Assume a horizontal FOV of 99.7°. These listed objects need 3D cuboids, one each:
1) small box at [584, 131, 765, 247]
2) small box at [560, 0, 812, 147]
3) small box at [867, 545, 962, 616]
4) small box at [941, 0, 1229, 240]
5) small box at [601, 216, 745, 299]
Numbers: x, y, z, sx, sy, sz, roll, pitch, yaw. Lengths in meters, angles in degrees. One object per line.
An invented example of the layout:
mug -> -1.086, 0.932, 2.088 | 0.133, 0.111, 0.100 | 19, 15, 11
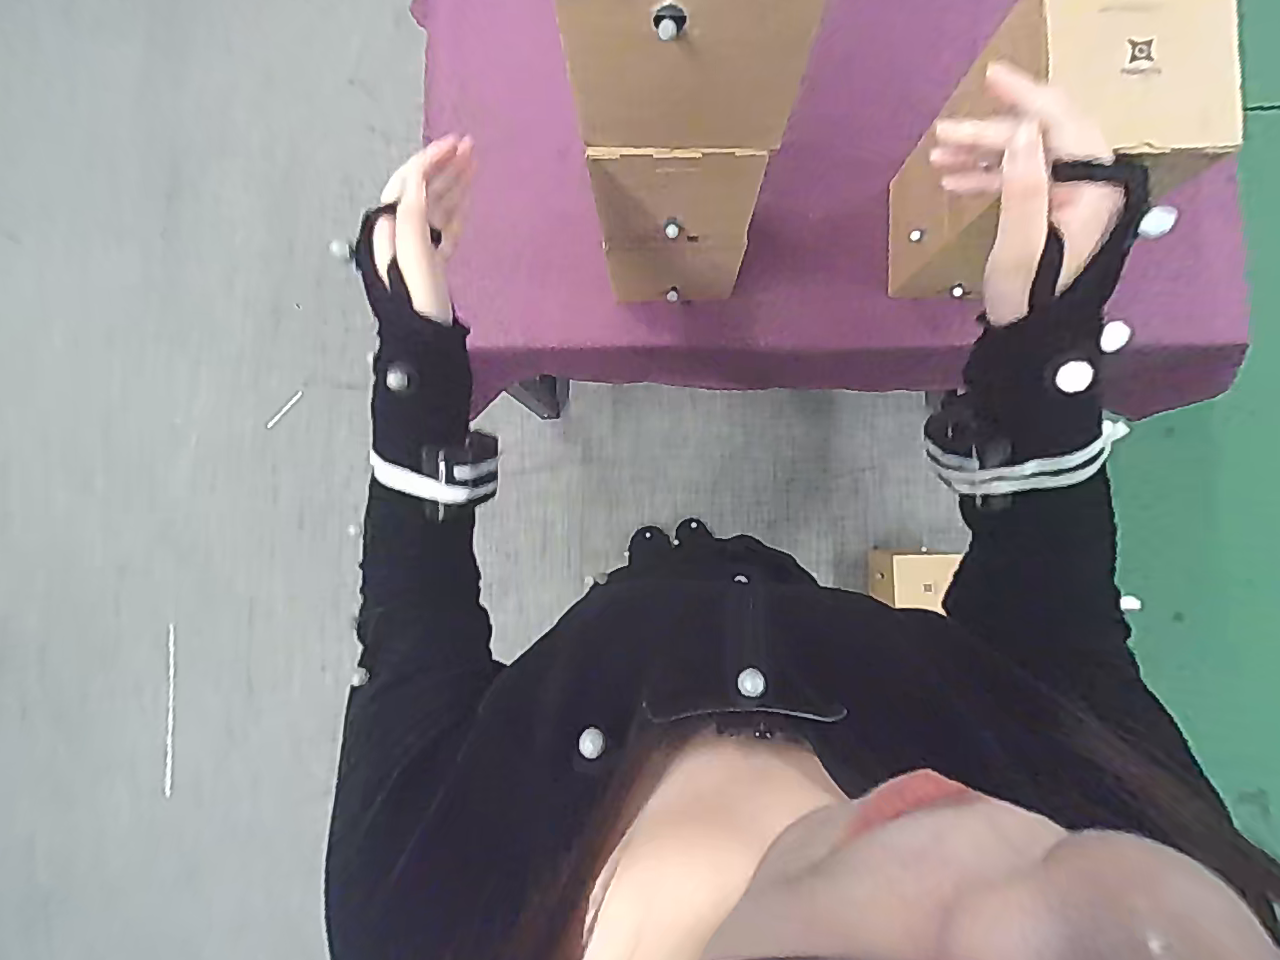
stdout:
small box -> 0.034, -0.372, 0.571 | 0.168, 0.176, 0.179 | 0, 87, 3
small box -> 0.034, -0.383, 0.406 | 0.179, 0.176, 0.168 | 2, 87, 1
small box -> 0.705, 0.258, 1.411 | 0.179, 0.176, 0.168 | -2, 87, 1
small box -> 0.435, -0.367, 0.558 | 0.168, 0.176, 0.179 | 1, 87, 2
small box -> 0.039, -0.358, 0.735 | 0.179, 0.176, 0.168 | -1, 86, 1
